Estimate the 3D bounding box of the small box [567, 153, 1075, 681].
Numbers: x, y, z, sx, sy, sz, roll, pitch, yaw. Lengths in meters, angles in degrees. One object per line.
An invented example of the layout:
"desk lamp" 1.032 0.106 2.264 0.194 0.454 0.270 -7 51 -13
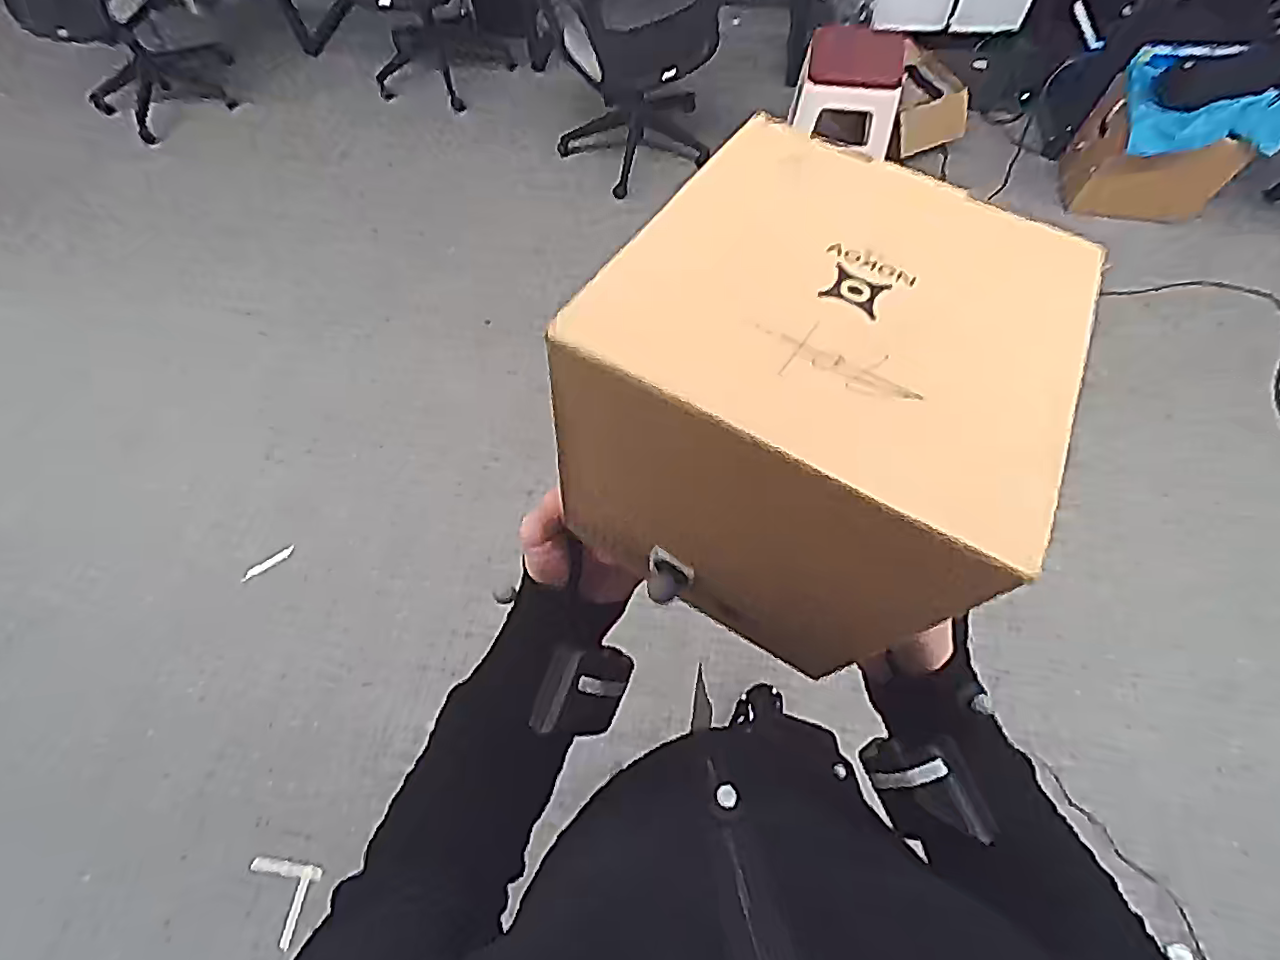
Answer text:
"small box" 0.076 -0.024 0.284 0.168 0.176 0.179 27 62 11
